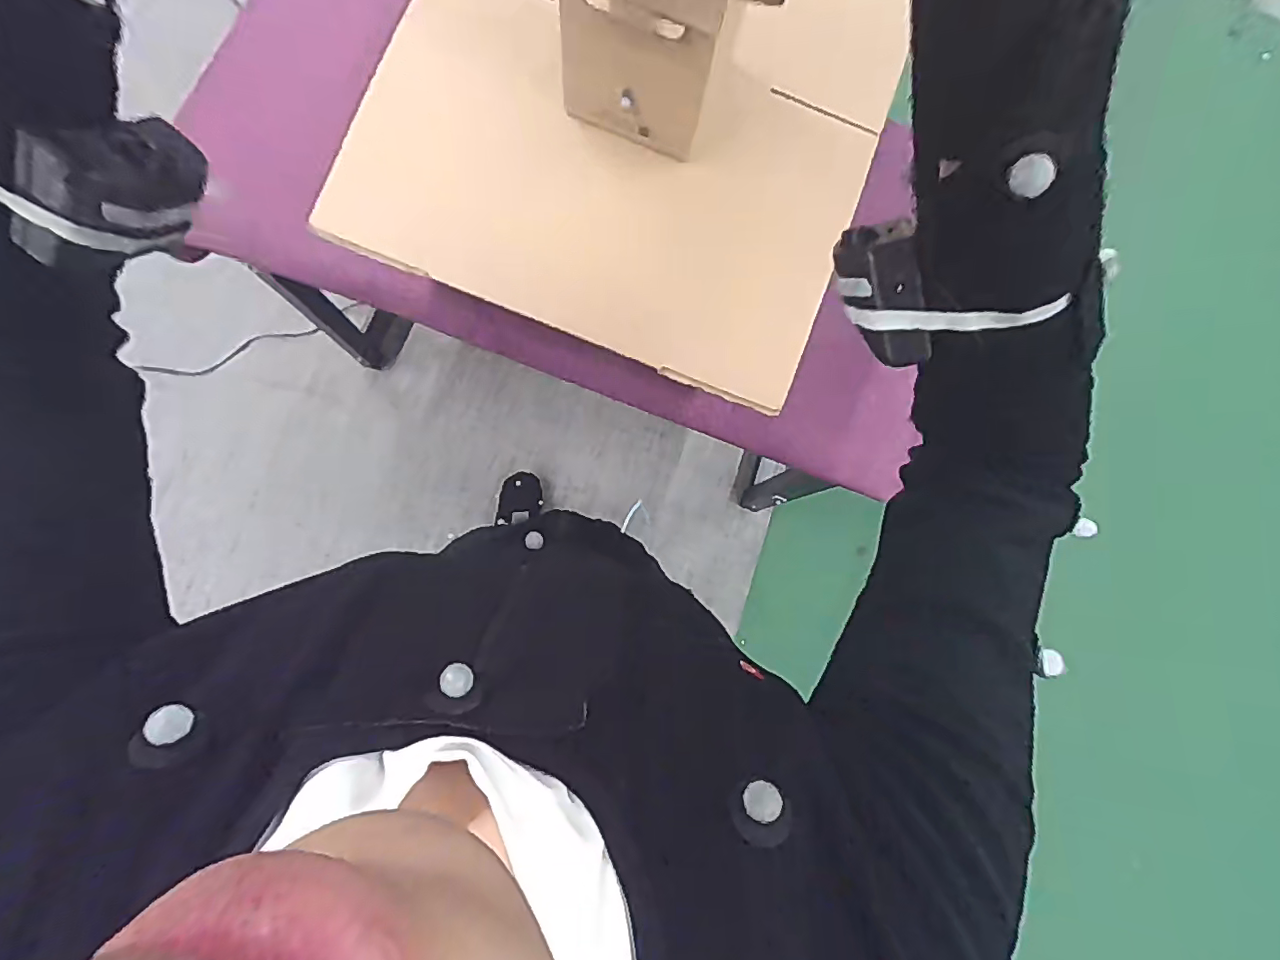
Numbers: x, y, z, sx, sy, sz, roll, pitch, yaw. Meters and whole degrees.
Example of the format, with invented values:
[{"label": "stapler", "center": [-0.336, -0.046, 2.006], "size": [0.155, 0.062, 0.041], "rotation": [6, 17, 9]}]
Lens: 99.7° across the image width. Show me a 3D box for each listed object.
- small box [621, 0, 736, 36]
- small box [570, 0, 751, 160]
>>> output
[{"label": "small box", "center": [0.037, -0.535, 0.445], "size": [0.168, 0.176, 0.179], "rotation": [20, 79, -2]}, {"label": "small box", "center": [0.024, -0.514, 0.606], "size": [0.168, 0.176, 0.179], "rotation": [22, 79, -1]}]
